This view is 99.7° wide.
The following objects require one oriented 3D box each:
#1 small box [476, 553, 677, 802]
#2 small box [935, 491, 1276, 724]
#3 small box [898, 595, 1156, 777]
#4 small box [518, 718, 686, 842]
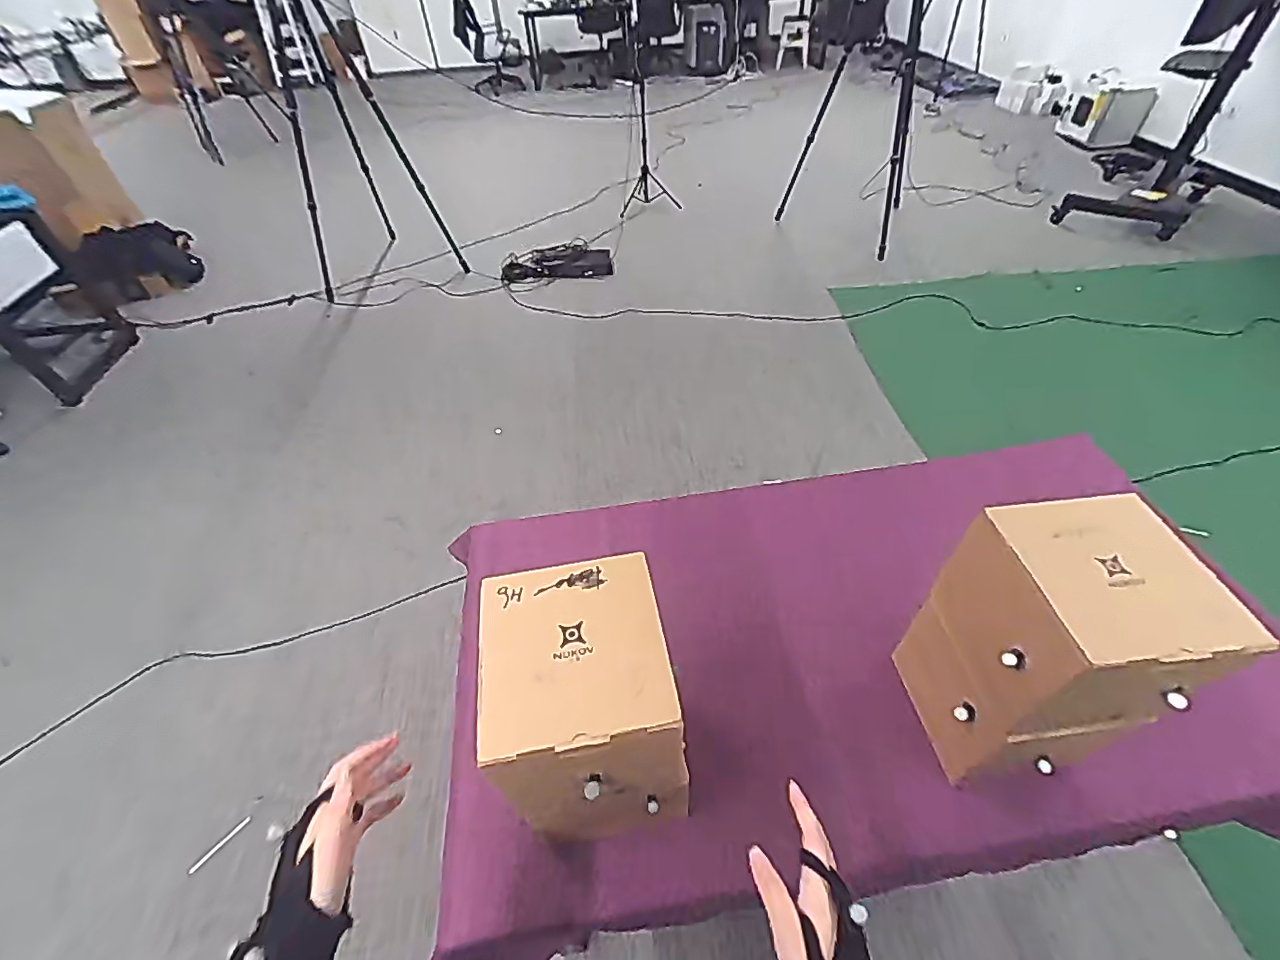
[{"bbox_3d":[-0.058,0.202,0.542,0.168,0.176,0.179,-9,46,-5],"label":"small box"},{"bbox_3d":[0.445,0.137,0.560,0.168,0.176,0.179,-5,46,-1],"label":"small box"},{"bbox_3d":[0.455,0.252,0.675,0.168,0.176,0.179,-7,46,-2],"label":"small box"},{"bbox_3d":[-0.044,0.317,0.658,0.179,0.176,0.168,-9,46,-5],"label":"small box"}]
